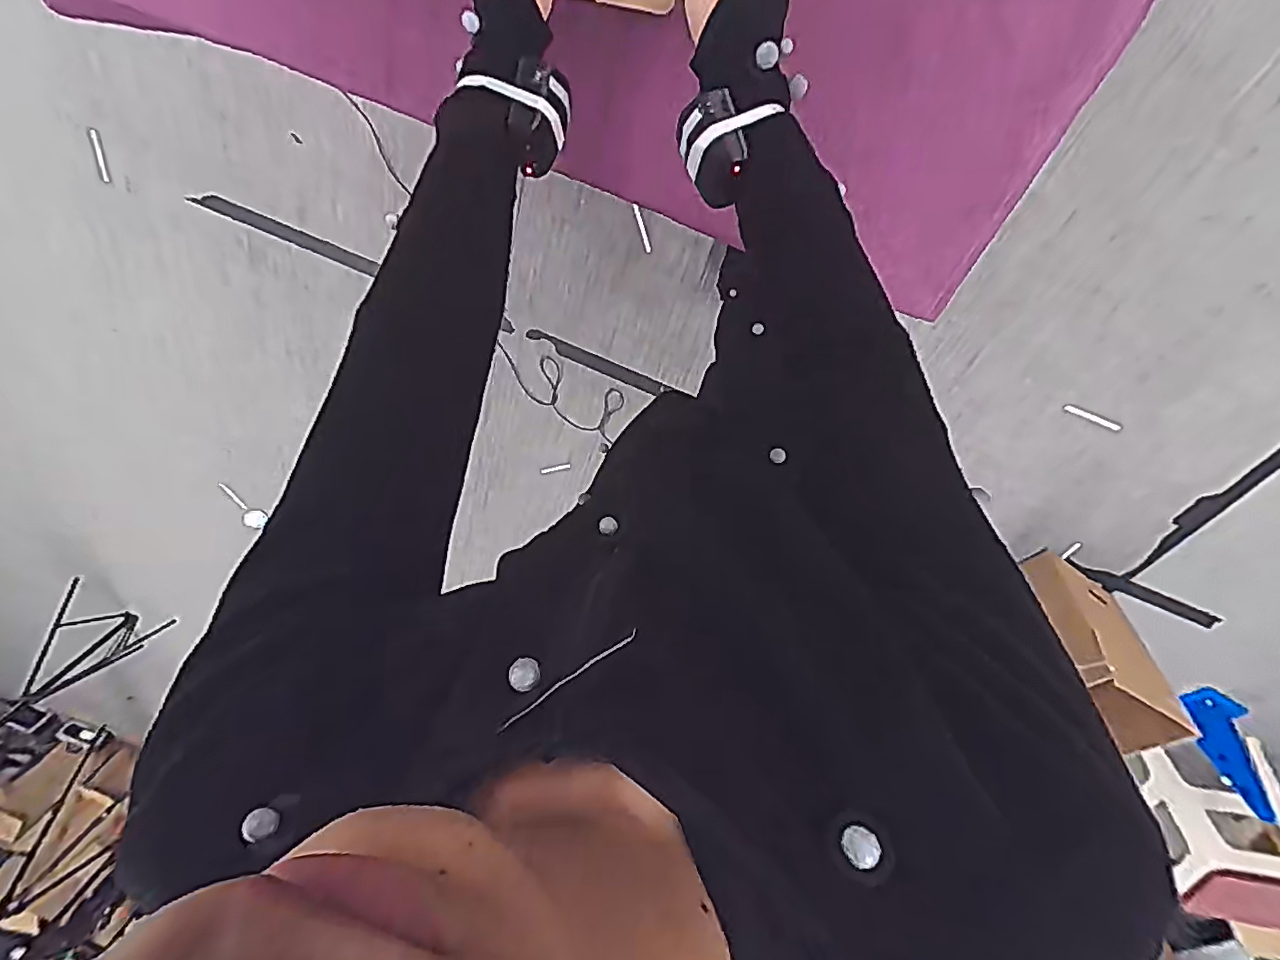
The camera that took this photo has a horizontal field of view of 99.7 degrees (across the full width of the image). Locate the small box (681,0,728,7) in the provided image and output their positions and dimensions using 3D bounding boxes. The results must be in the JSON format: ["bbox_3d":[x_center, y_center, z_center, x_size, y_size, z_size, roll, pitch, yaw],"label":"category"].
[{"bbox_3d":[0.011,-0.517,0.438,0.168,0.176,0.179,15,127,4],"label":"small box"}]
